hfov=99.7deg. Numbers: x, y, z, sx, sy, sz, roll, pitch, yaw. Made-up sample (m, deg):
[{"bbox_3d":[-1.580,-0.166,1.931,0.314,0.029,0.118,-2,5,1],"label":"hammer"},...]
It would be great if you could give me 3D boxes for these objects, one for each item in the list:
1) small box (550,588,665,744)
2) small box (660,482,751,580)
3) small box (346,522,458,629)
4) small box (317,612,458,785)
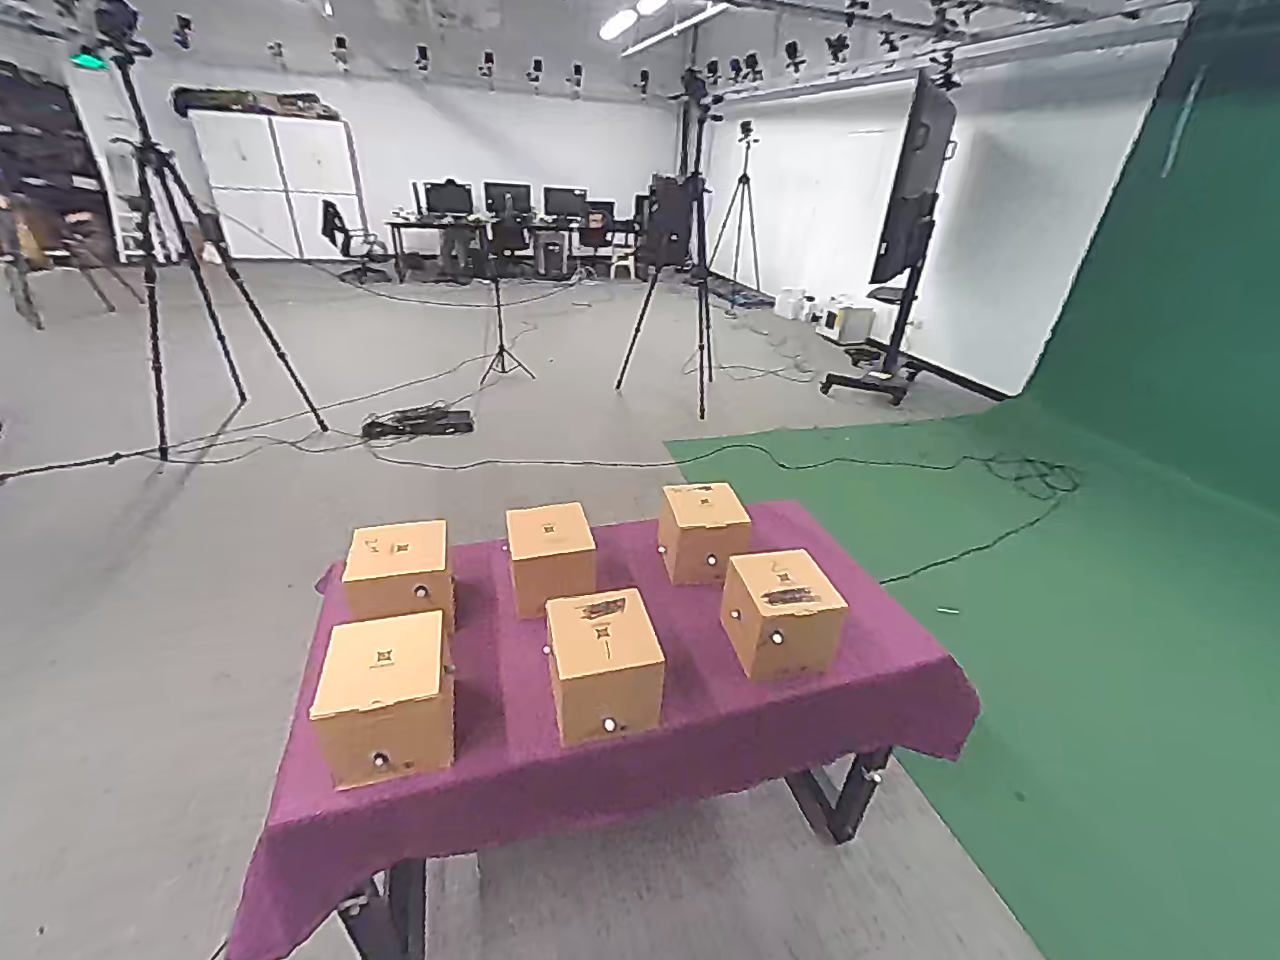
[{"bbox_3d":[-0.063,0.314,0.929,0.168,0.176,0.179,-6,31,-14],"label":"small box"},{"bbox_3d":[0.147,0.123,1.275,0.168,0.176,0.179,-3,31,-10],"label":"small box"},{"bbox_3d":[-0.463,0.206,1.084,0.179,0.176,0.168,-6,31,-15],"label":"small box"},{"bbox_3d":[-0.387,0.341,0.860,0.168,0.176,0.179,-6,31,-15],"label":"small box"}]
